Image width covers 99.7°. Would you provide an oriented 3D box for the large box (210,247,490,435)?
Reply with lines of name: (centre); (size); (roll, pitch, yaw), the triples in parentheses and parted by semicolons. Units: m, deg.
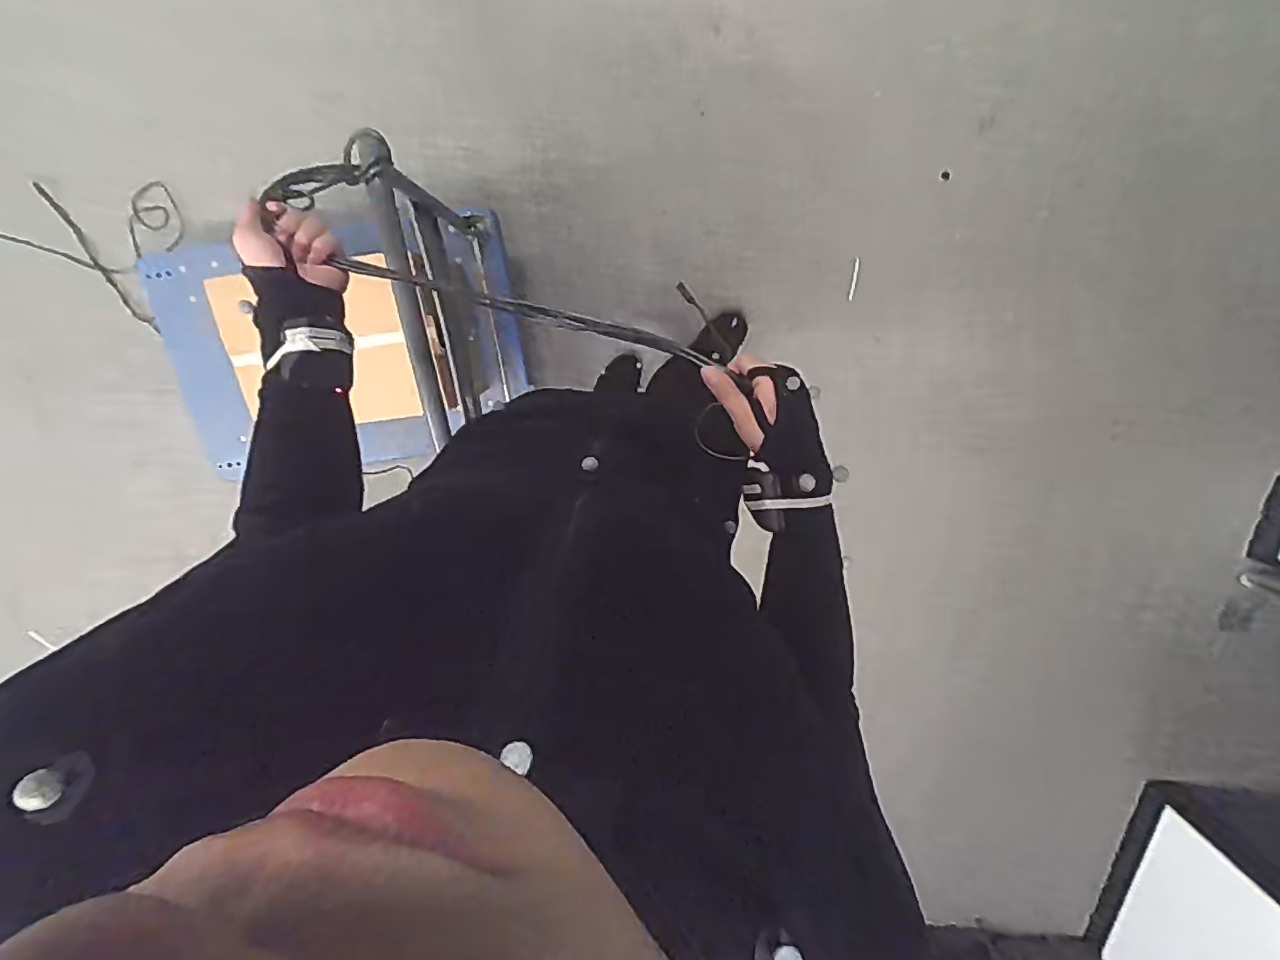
large box: (-0.597, -0.308, 1.198); (0.408, 0.320, 0.320); (-7, 107, 3)
